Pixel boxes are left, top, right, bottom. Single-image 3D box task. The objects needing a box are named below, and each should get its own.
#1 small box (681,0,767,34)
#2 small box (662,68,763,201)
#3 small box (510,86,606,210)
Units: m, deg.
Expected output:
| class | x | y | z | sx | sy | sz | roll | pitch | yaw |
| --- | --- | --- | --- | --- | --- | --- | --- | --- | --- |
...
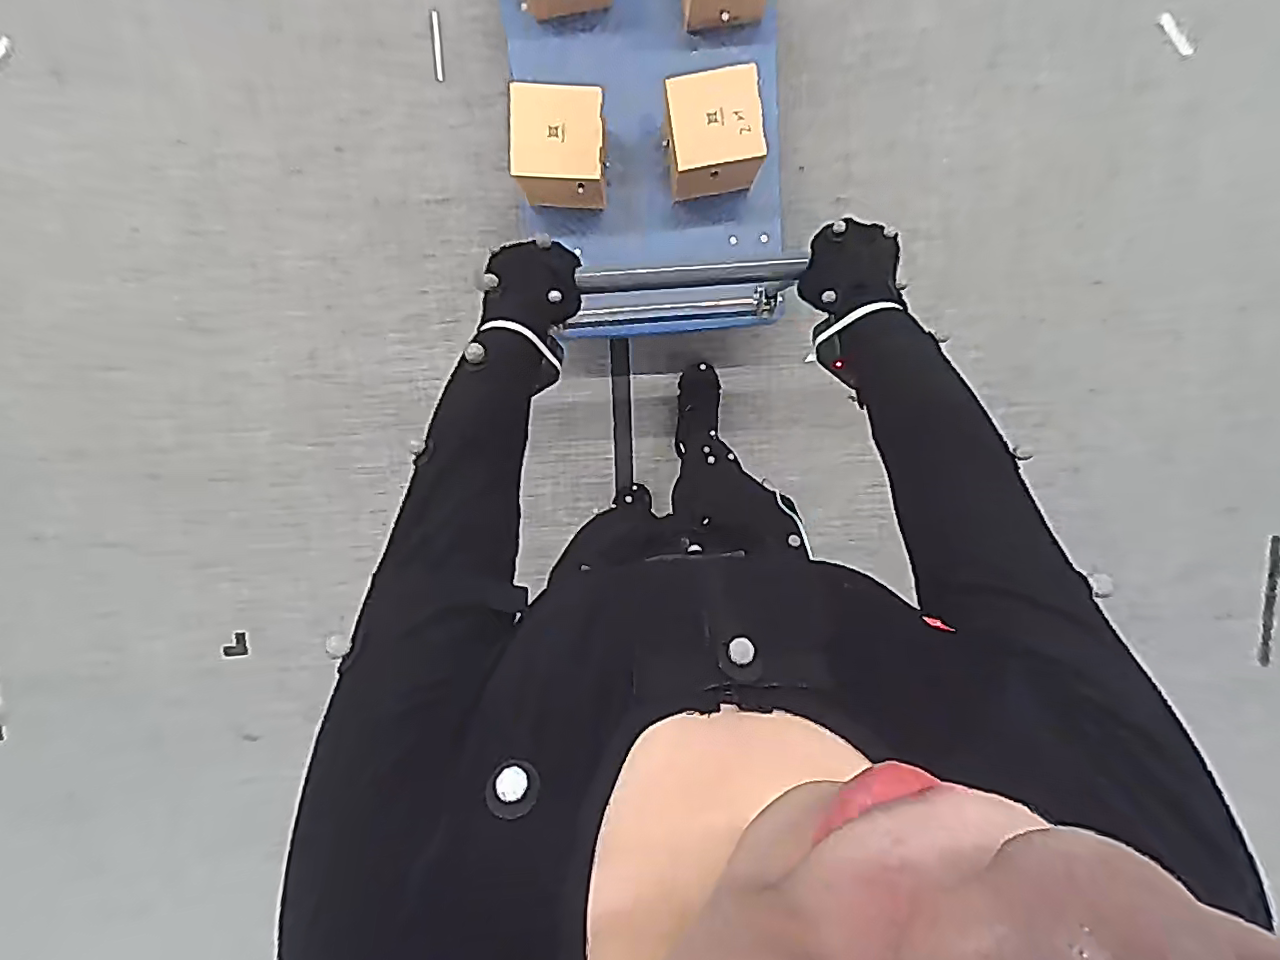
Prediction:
| class | x | y | z | sx | sy | sz | roll | pitch | yaw |
| --- | --- | --- | --- | --- | --- | --- | --- | --- | --- |
| small box | 0.165 | -1.031 | 1.060 | 0.168 | 0.176 | 0.179 | -7 | 100 | 1 |
| small box | 0.142 | -0.697 | 1.113 | 0.179 | 0.176 | 0.168 | -9 | 99 | 2 |
| small box | -0.164 | -0.674 | 1.116 | 0.179 | 0.176 | 0.168 | 2 | 99 | -2 |
